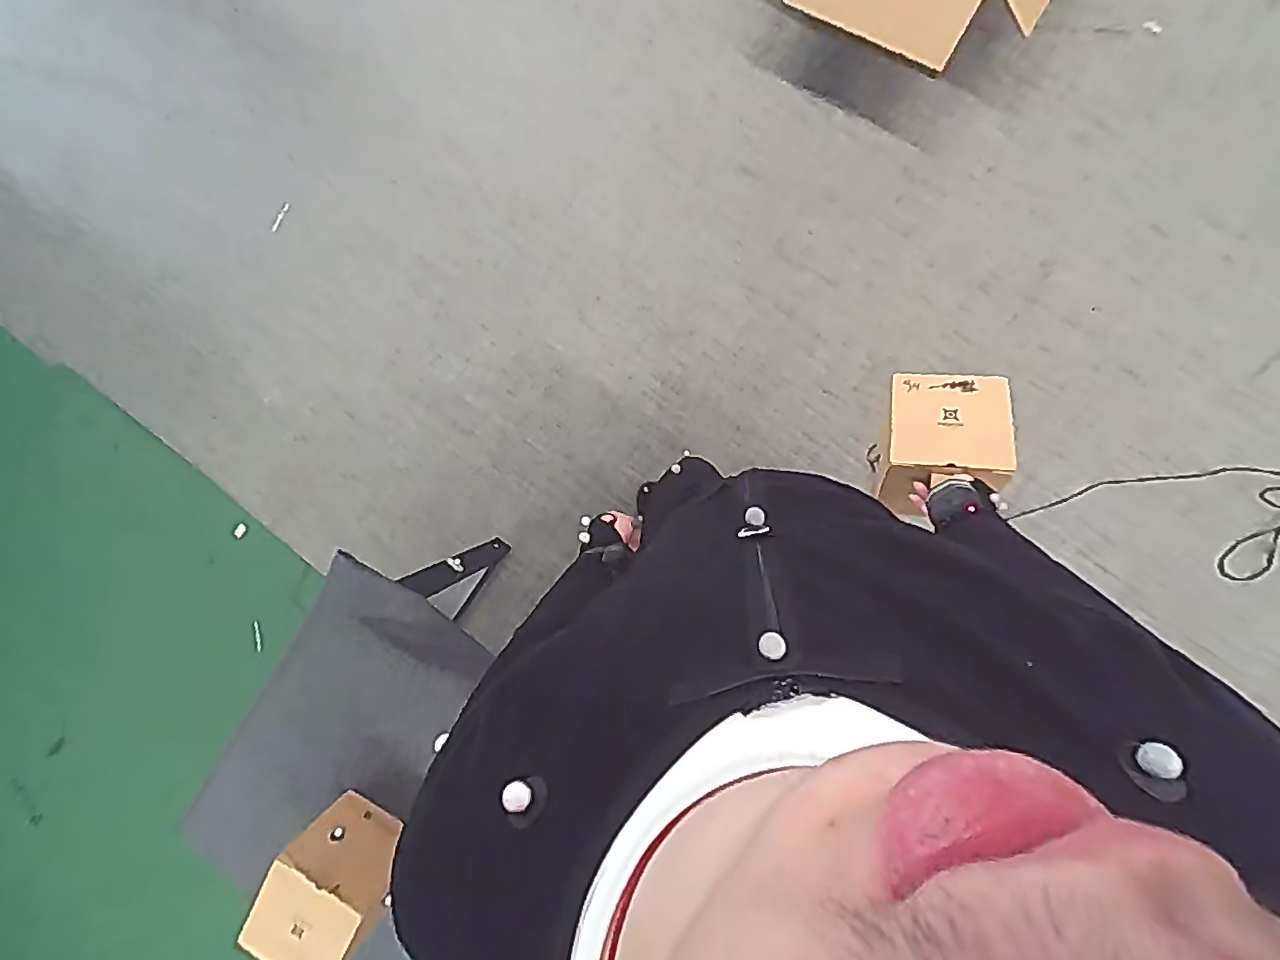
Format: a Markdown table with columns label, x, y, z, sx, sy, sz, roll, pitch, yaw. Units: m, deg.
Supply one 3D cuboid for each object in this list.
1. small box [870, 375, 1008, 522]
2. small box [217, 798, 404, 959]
| label | x | y | z | sx | sy | sz | roll | pitch | yaw |
| --- | --- | --- | --- | --- | --- | --- | --- | --- | --- |
| small box | 0.477 | -0.048 | 0.883 | 0.168 | 0.176 | 0.179 | 7 | 62 | 17 |
| small box | -0.519 | 0.669 | 0.878 | 0.168 | 0.176 | 0.179 | 28 | 98 | 7 |
